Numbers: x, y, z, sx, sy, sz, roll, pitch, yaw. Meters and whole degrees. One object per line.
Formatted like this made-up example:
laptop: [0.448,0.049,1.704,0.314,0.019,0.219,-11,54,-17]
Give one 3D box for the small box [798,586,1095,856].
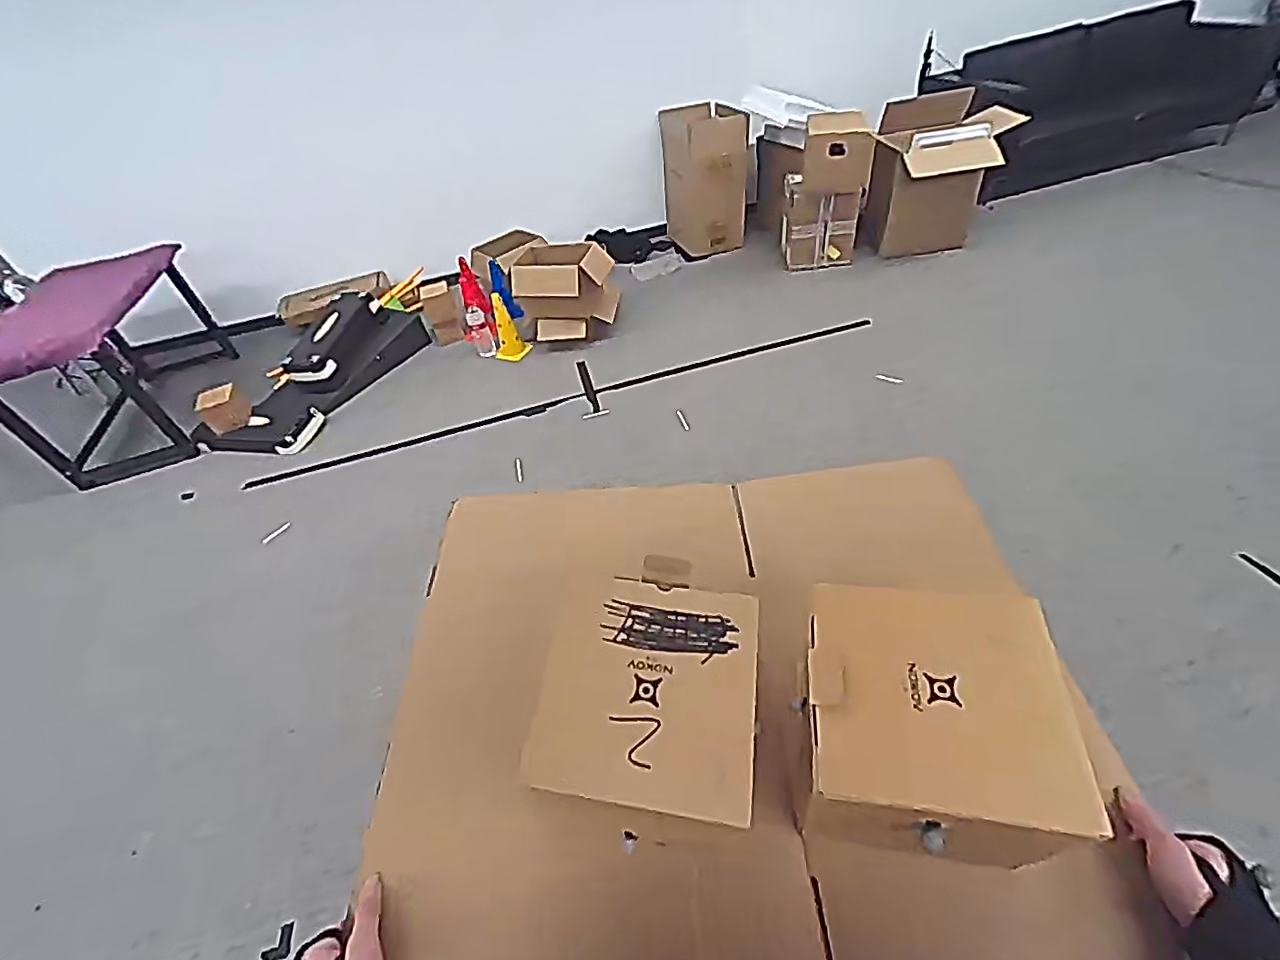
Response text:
small box: [0.235,0.212,0.472,0.179,0.176,0.168,2,51,14]
